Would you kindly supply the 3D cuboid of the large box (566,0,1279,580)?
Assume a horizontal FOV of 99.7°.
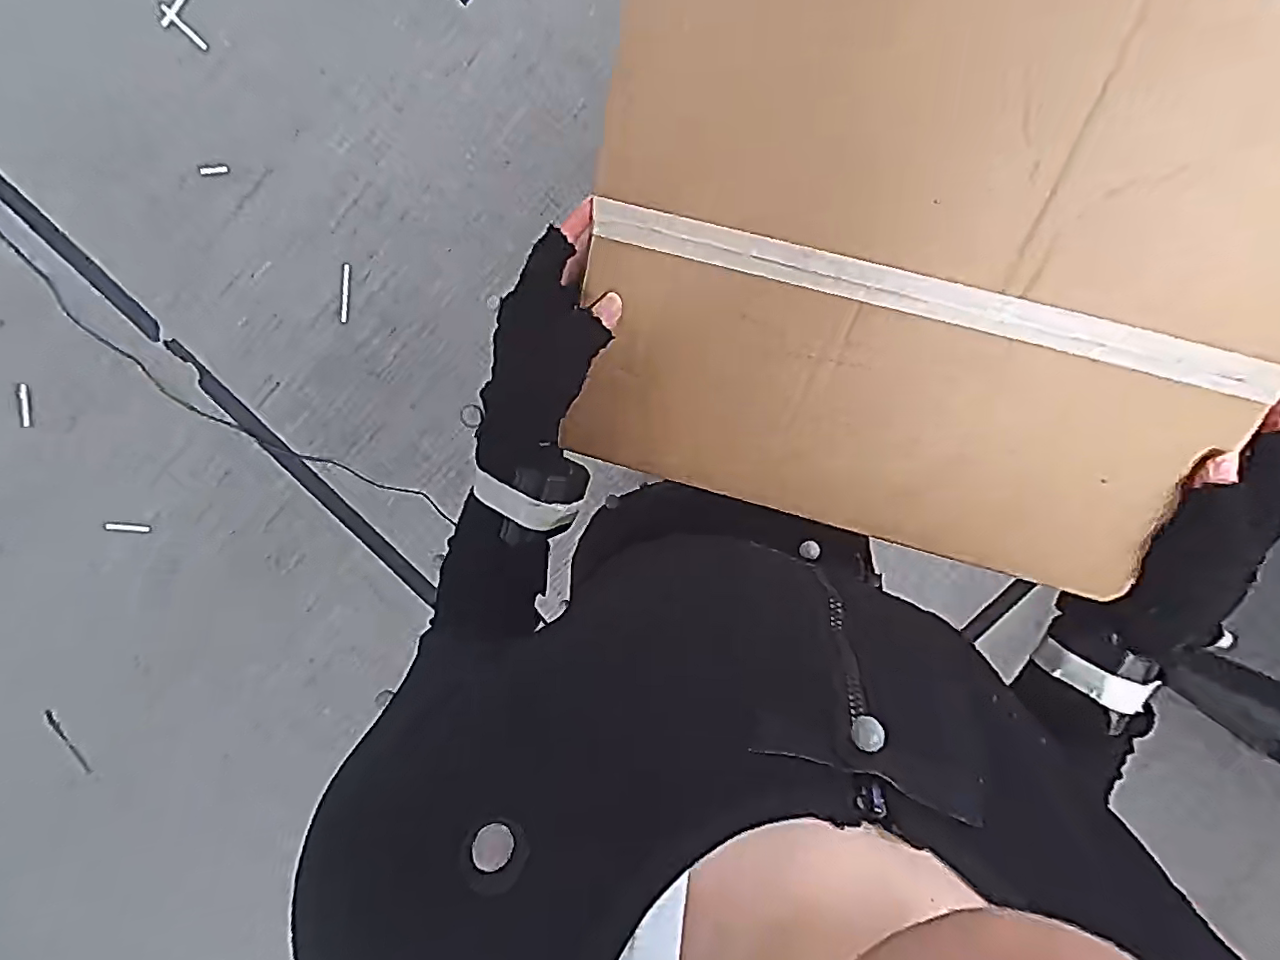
[{"bbox_3d":[0.187,-0.171,0.460,0.408,0.320,0.320,15,116,3],"label":"large box"}]
